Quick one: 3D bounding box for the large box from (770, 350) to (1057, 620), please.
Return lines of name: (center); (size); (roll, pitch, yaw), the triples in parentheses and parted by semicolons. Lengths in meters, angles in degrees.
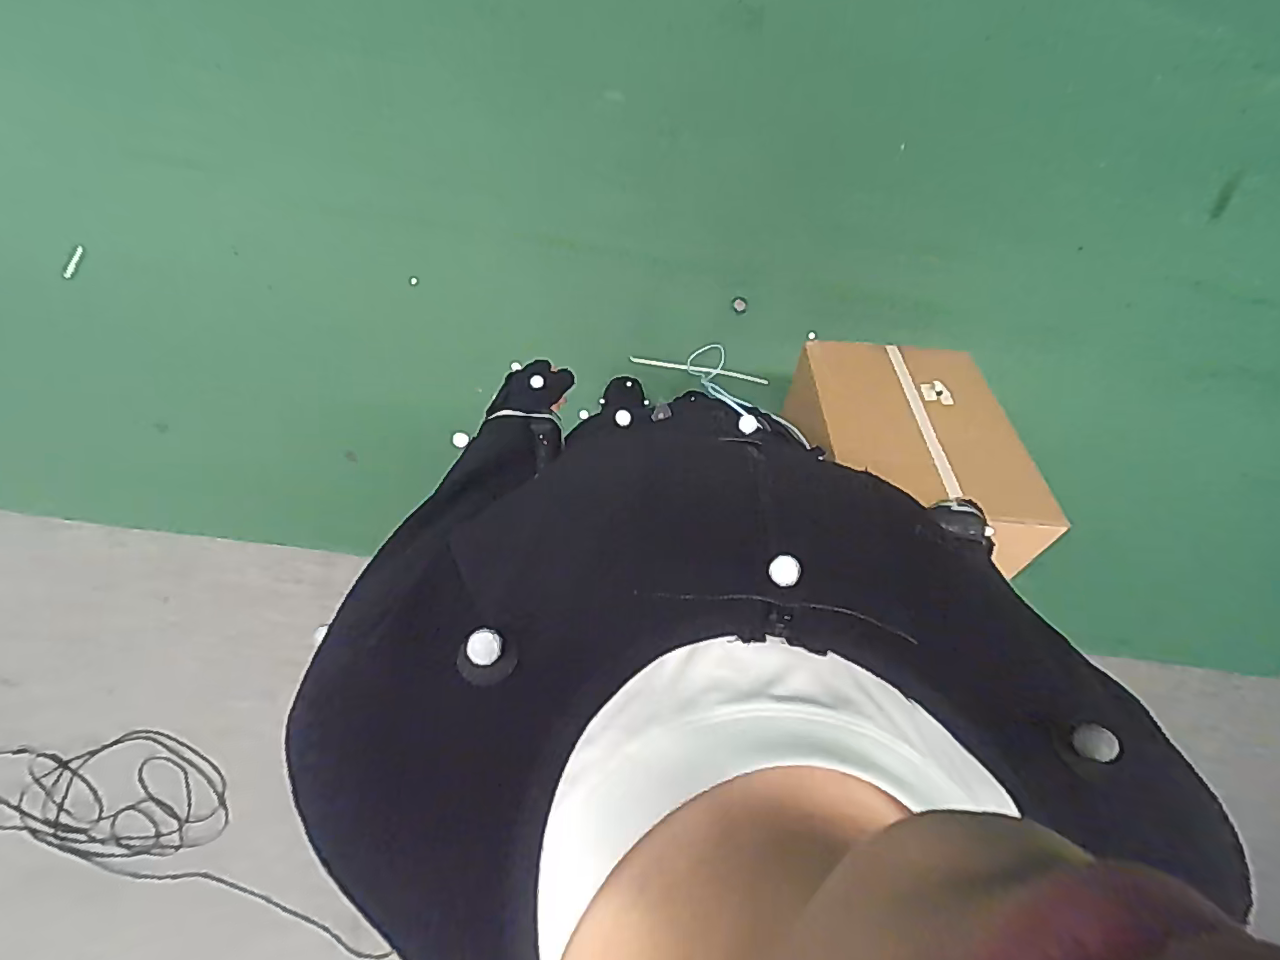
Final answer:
large box: (0.445, 0.010, 1.007); (0.320, 0.408, 0.320); (4, 139, -1)
